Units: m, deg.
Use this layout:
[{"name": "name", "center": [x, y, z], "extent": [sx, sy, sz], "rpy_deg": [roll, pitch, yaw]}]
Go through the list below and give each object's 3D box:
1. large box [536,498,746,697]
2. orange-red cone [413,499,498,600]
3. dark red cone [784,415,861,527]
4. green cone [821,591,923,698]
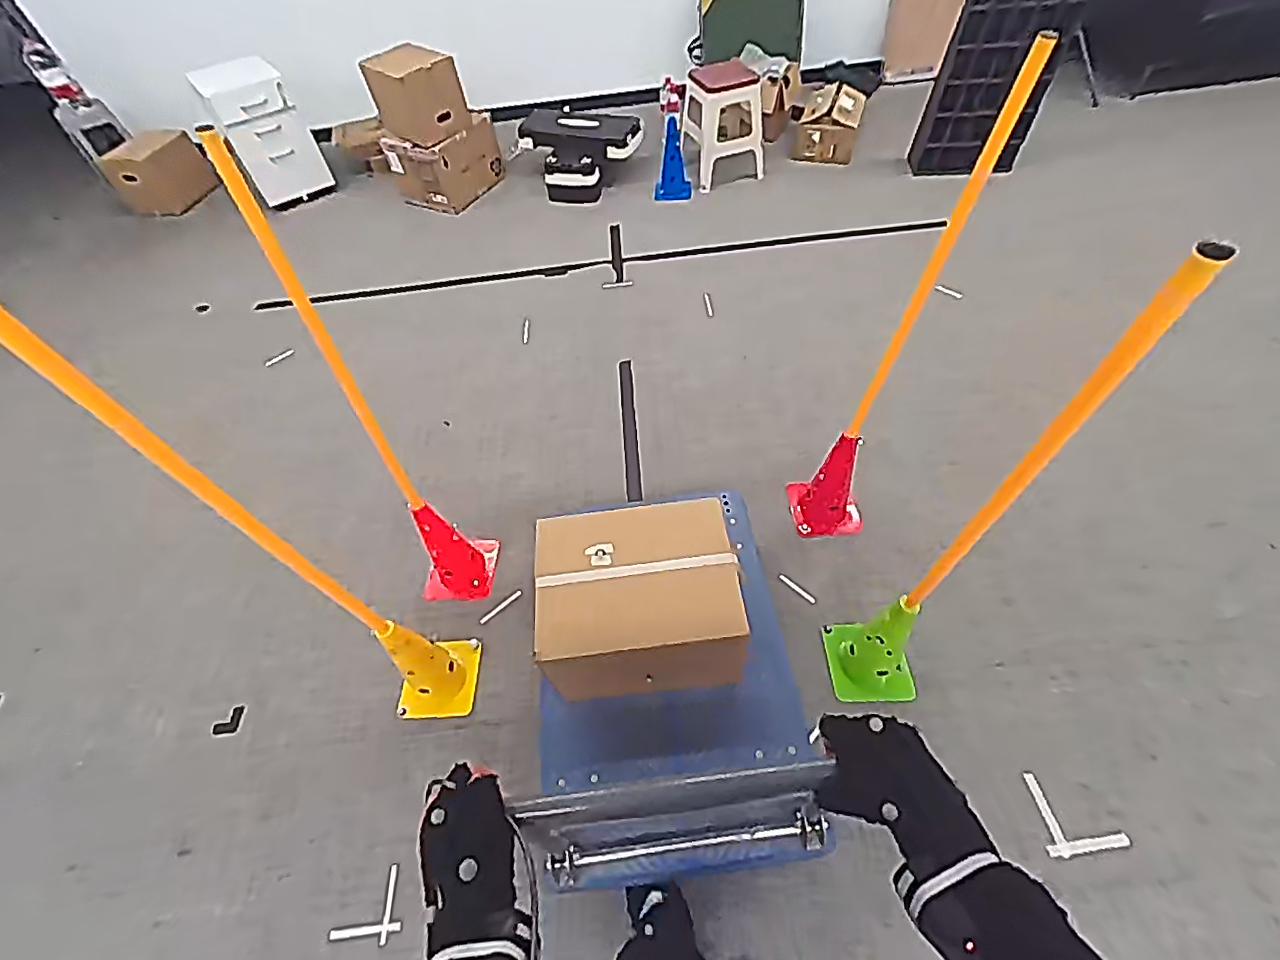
[{"name": "large box", "center": [0.001, 0.273, 1.216], "extent": [0.408, 0.320, 0.320], "rpy_deg": [-8, 54, 1]}, {"name": "orange-red cone", "center": [-0.557, 0.168, 1.527], "extent": [0.198, 0.360, 0.199], "rpy_deg": [0, 52, 4]}, {"name": "dark red cone", "center": [0.559, -0.036, 1.552], "extent": [0.201, 0.394, 0.202], "rpy_deg": [-5, 54, -1]}, {"name": "green cone", "center": [0.579, 0.362, 1.276], "extent": [0.202, 0.368, 0.200], "rpy_deg": [-2, 53, 2]}]
